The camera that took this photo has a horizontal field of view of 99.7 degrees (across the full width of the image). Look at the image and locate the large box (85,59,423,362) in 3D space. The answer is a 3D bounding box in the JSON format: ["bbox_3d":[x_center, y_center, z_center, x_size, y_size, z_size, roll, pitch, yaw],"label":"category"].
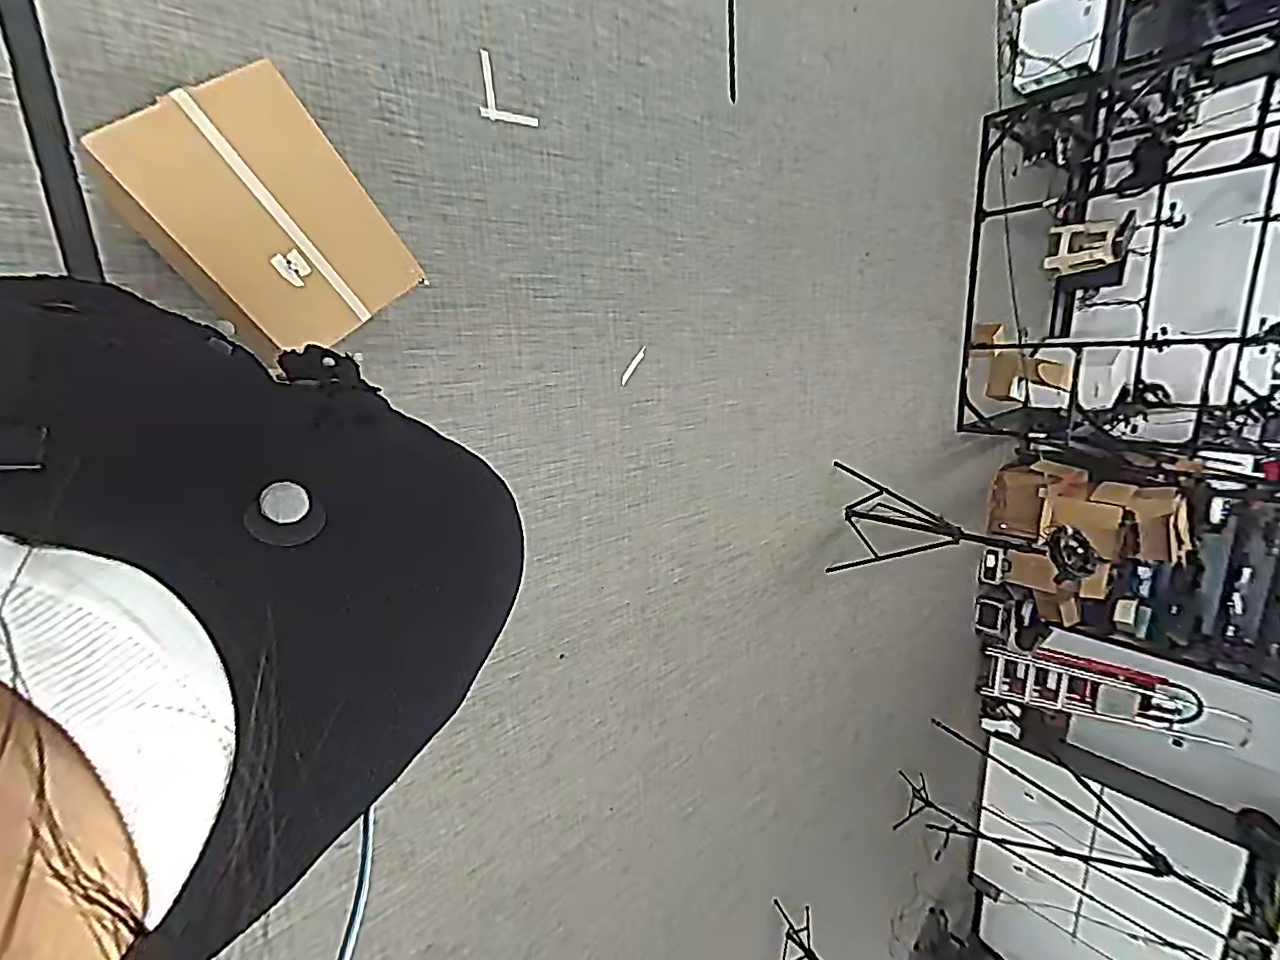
[{"bbox_3d":[-0.725,-0.483,1.054,0.320,0.320,0.408,-49,127,-23],"label":"large box"}]
